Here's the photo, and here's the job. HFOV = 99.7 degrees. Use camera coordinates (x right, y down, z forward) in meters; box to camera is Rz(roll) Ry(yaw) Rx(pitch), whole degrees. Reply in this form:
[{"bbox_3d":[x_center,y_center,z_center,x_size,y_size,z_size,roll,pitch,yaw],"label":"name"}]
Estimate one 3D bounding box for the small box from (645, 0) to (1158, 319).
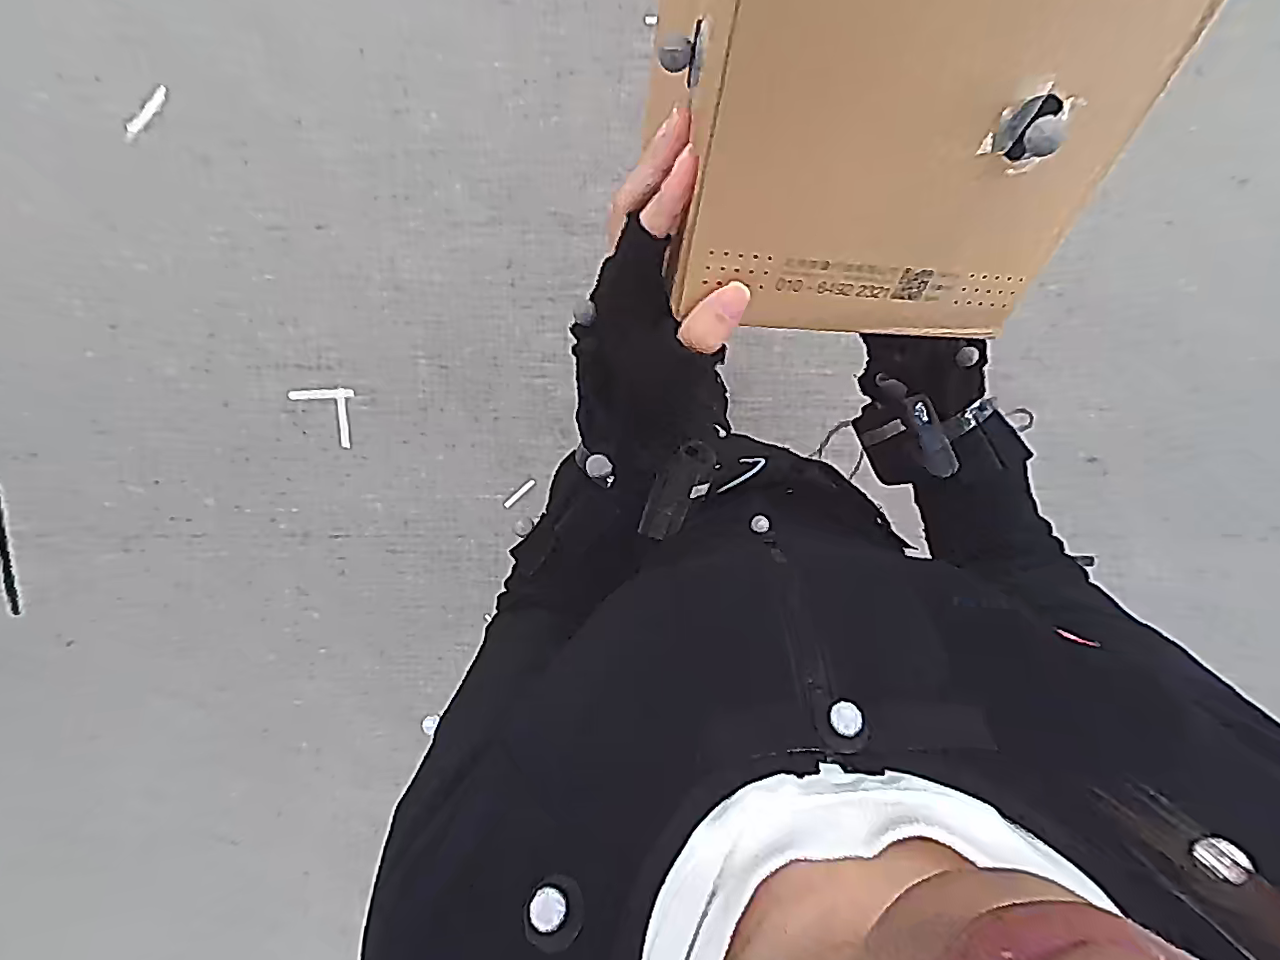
[{"bbox_3d":[0.101,-0.199,0.274,0.168,0.179,0.176,1,136,-10],"label":"small box"}]
